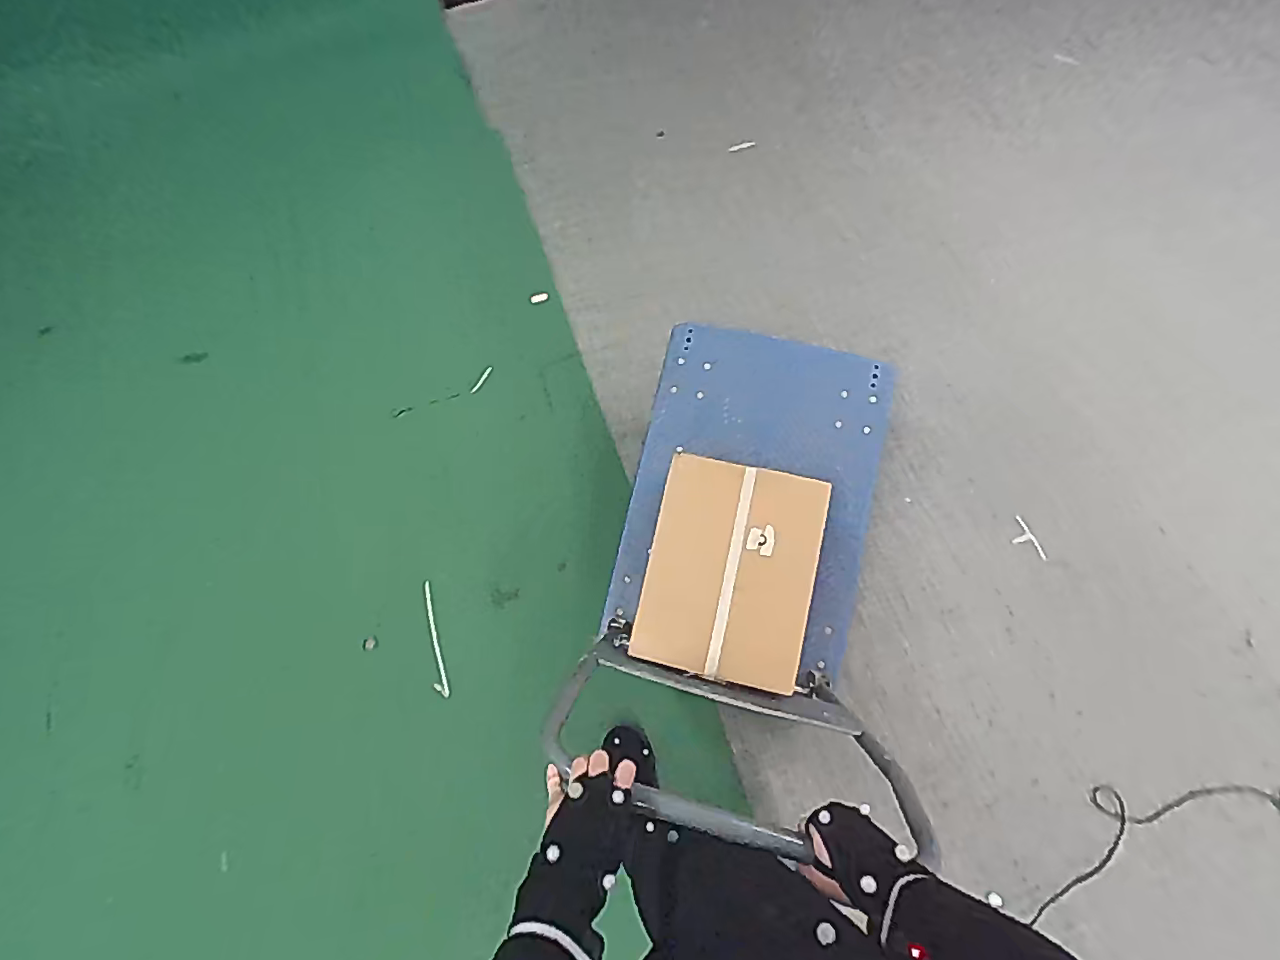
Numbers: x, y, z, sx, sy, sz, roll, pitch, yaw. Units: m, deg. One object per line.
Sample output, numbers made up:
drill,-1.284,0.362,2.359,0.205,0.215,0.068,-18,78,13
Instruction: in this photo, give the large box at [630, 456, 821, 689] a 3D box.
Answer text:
large box,0.182,0.198,1.195,0.320,0.320,0.408,12,81,7
